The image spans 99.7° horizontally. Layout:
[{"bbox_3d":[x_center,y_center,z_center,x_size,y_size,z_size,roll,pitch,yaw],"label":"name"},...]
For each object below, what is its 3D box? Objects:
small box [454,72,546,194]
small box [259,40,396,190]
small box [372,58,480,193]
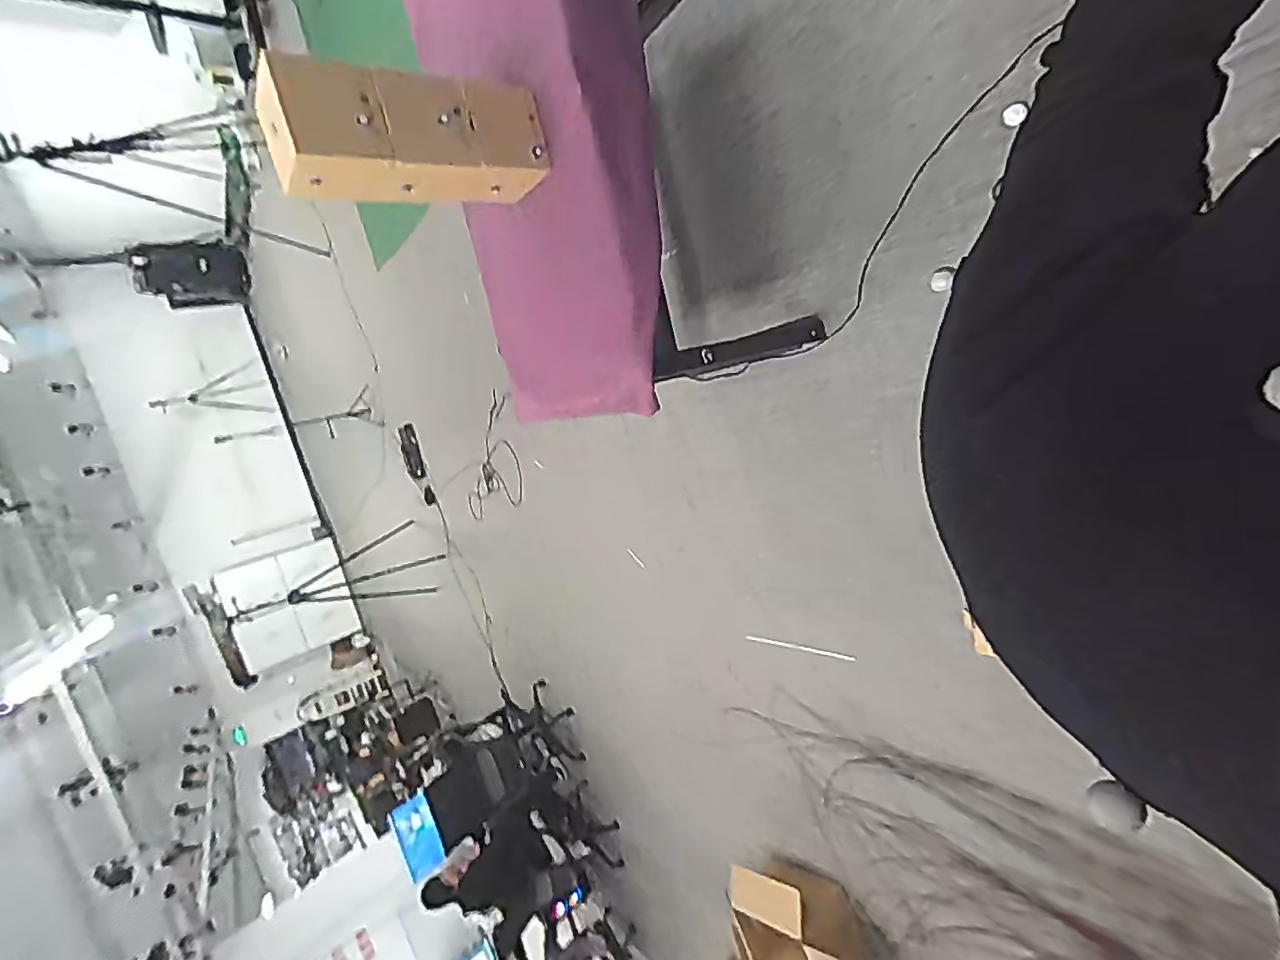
[{"bbox_3d":[-0.320,-0.747,1.183,0.179,0.176,0.168,0,106,52],"label":"small box"},{"bbox_3d":[-0.572,-0.653,0.996,0.179,0.176,0.168,-1,106,51],"label":"small box"},{"bbox_3d":[-0.448,-0.698,1.091,0.179,0.176,0.168,-1,106,51],"label":"small box"}]
